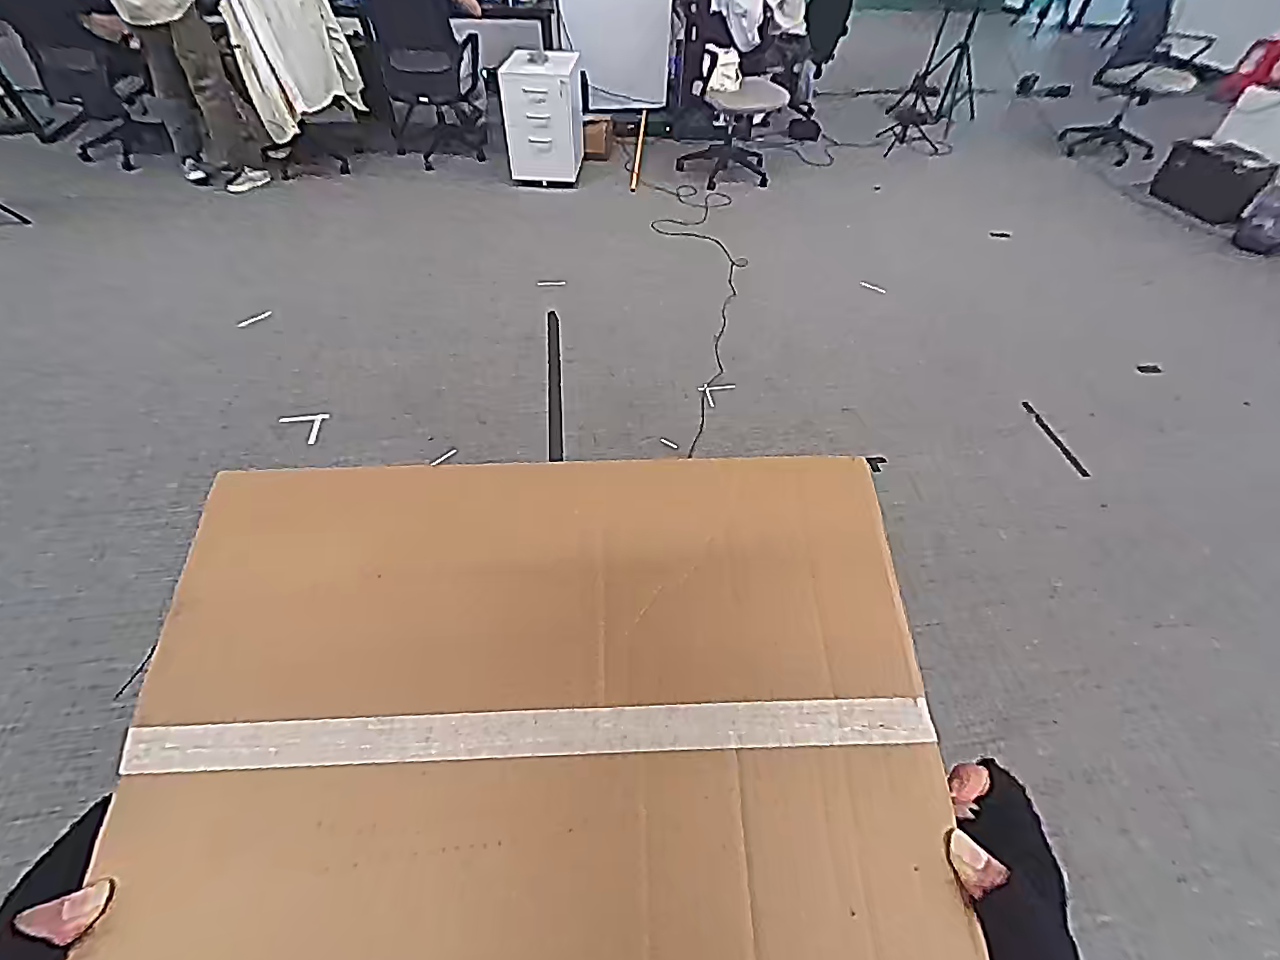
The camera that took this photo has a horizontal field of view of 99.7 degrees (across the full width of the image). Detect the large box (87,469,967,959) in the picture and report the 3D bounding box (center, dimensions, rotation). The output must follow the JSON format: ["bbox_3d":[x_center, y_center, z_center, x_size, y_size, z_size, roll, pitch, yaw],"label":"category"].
[{"bbox_3d":[-0.055,0.203,0.418,0.408,0.320,0.320,-1,65,-1],"label":"large box"}]
